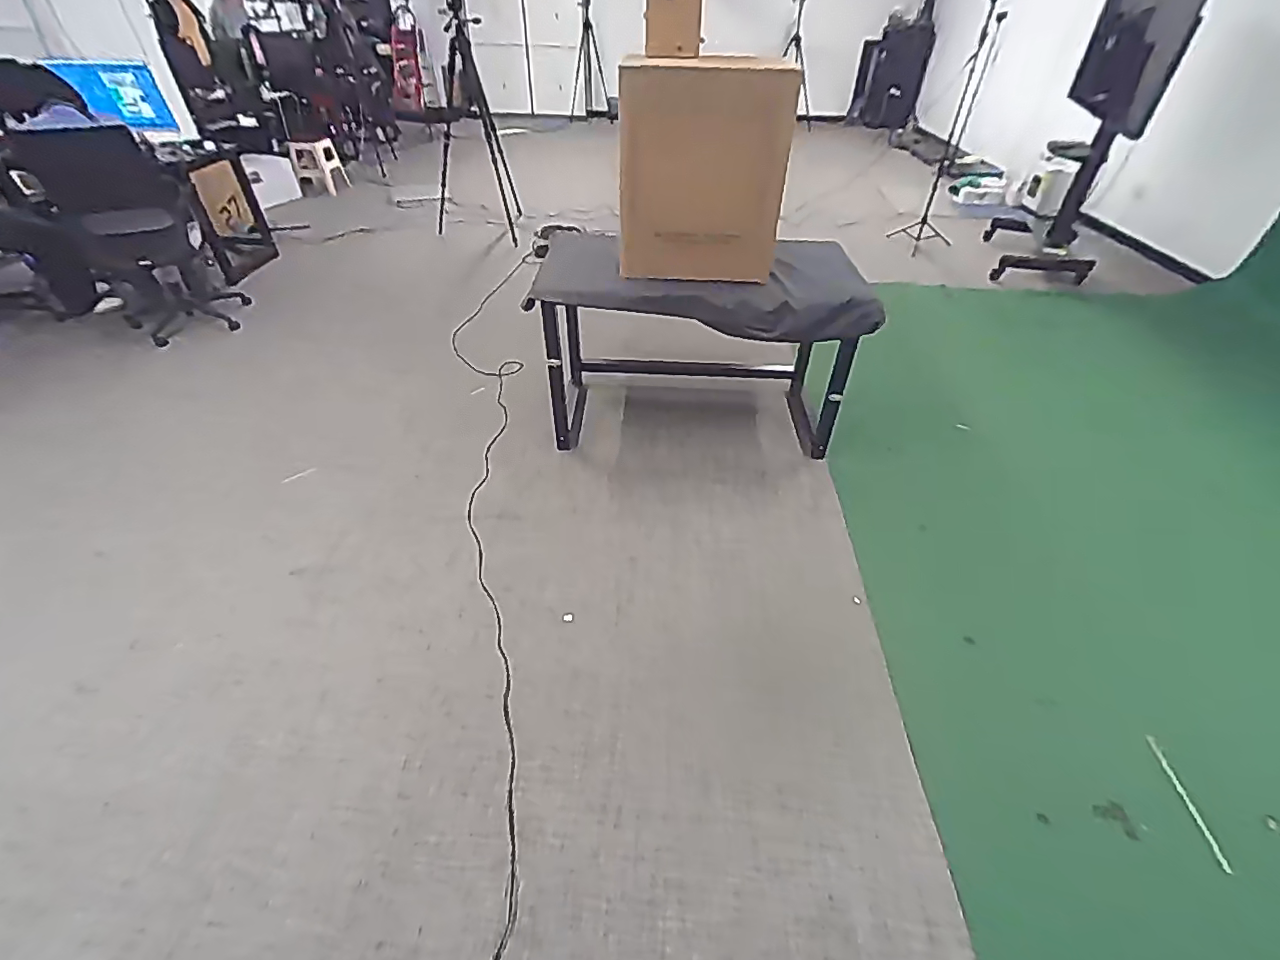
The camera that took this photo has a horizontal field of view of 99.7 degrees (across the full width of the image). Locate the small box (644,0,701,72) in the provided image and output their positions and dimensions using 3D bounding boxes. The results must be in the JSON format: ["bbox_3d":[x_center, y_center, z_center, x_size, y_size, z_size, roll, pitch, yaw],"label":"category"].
[{"bbox_3d":[0.100,-1.380,1.679,0.168,0.176,0.179,2,39,3],"label":"small box"}]
